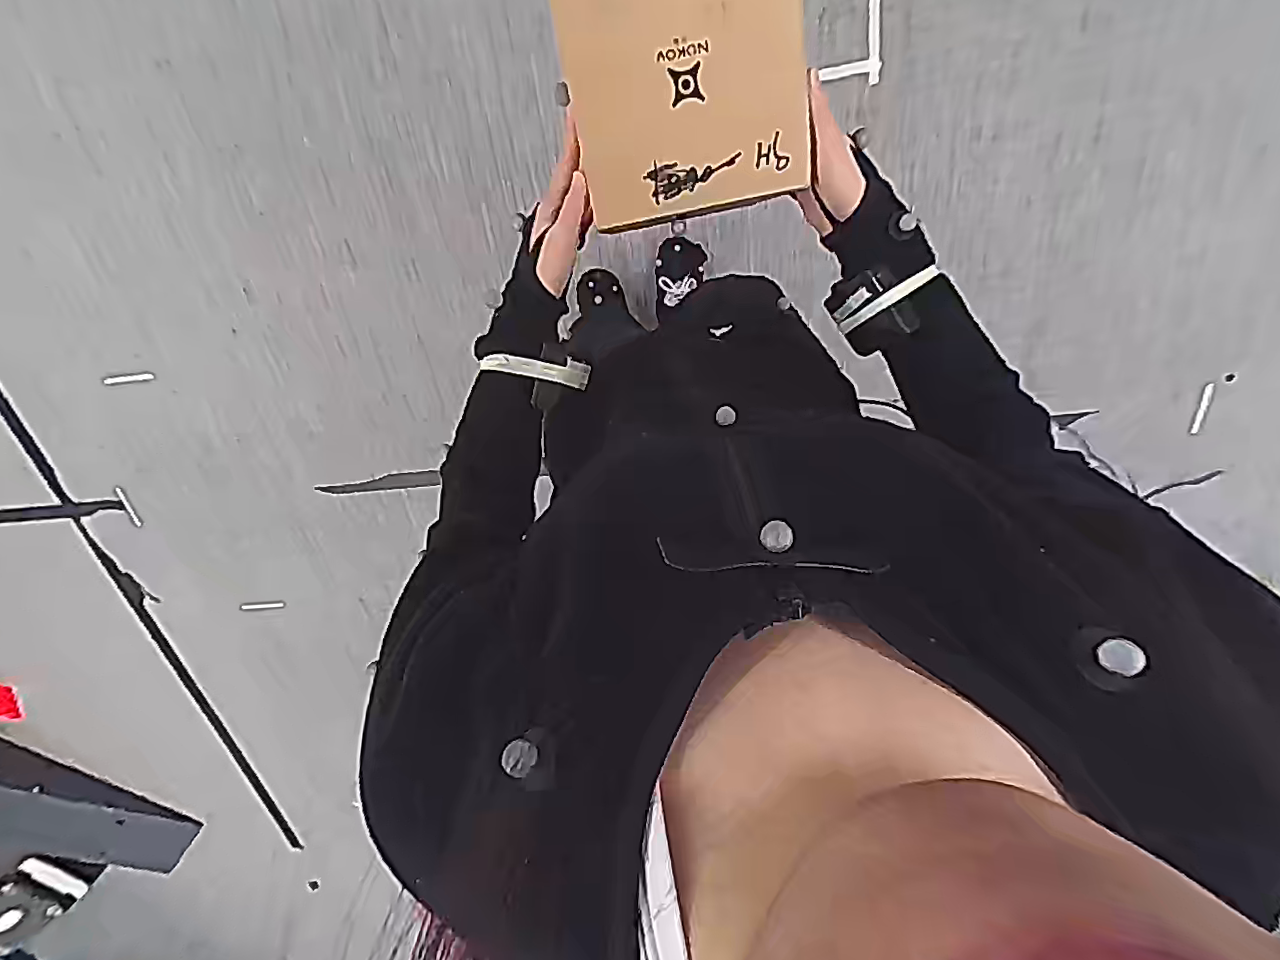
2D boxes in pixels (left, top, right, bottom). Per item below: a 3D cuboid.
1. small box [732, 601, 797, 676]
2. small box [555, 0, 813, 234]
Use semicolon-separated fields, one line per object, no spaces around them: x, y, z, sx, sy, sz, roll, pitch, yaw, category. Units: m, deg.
0.393;0.502;1.729;0.179;0.176;0.168;-3;115;5;small box
0.029;-0.311;0.441;0.168;0.176;0.179;-11;113;2;small box
